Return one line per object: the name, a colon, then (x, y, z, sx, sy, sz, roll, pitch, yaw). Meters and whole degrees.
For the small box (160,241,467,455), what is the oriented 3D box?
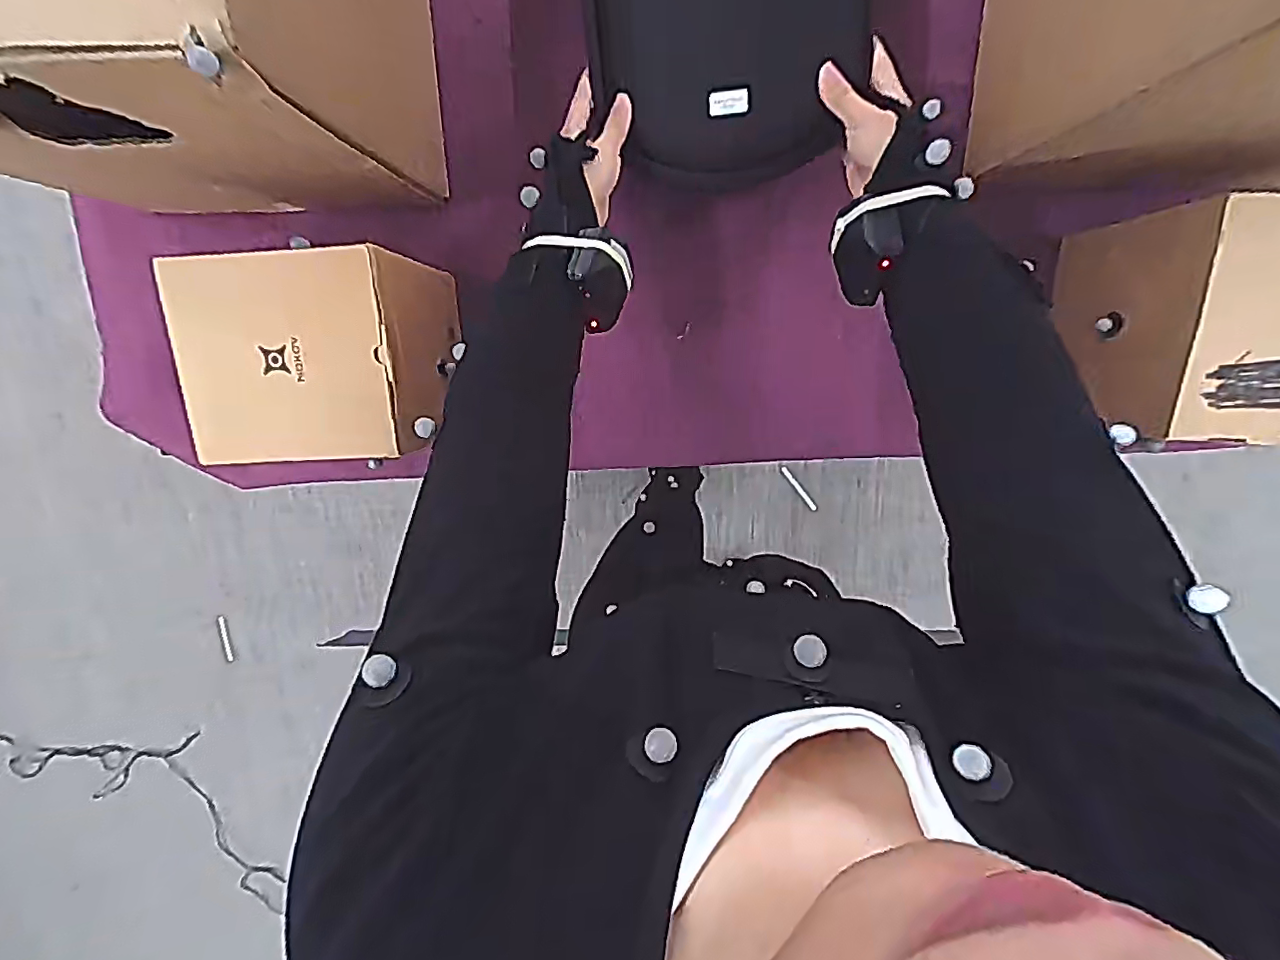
small box: (-0.288, -0.120, 0.518, 0.179, 0.176, 0.168, -3, 103, 3)

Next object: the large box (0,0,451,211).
large box: (-0.353, -0.436, 0.368, 0.320, 0.320, 0.408, -2, 107, 2)
